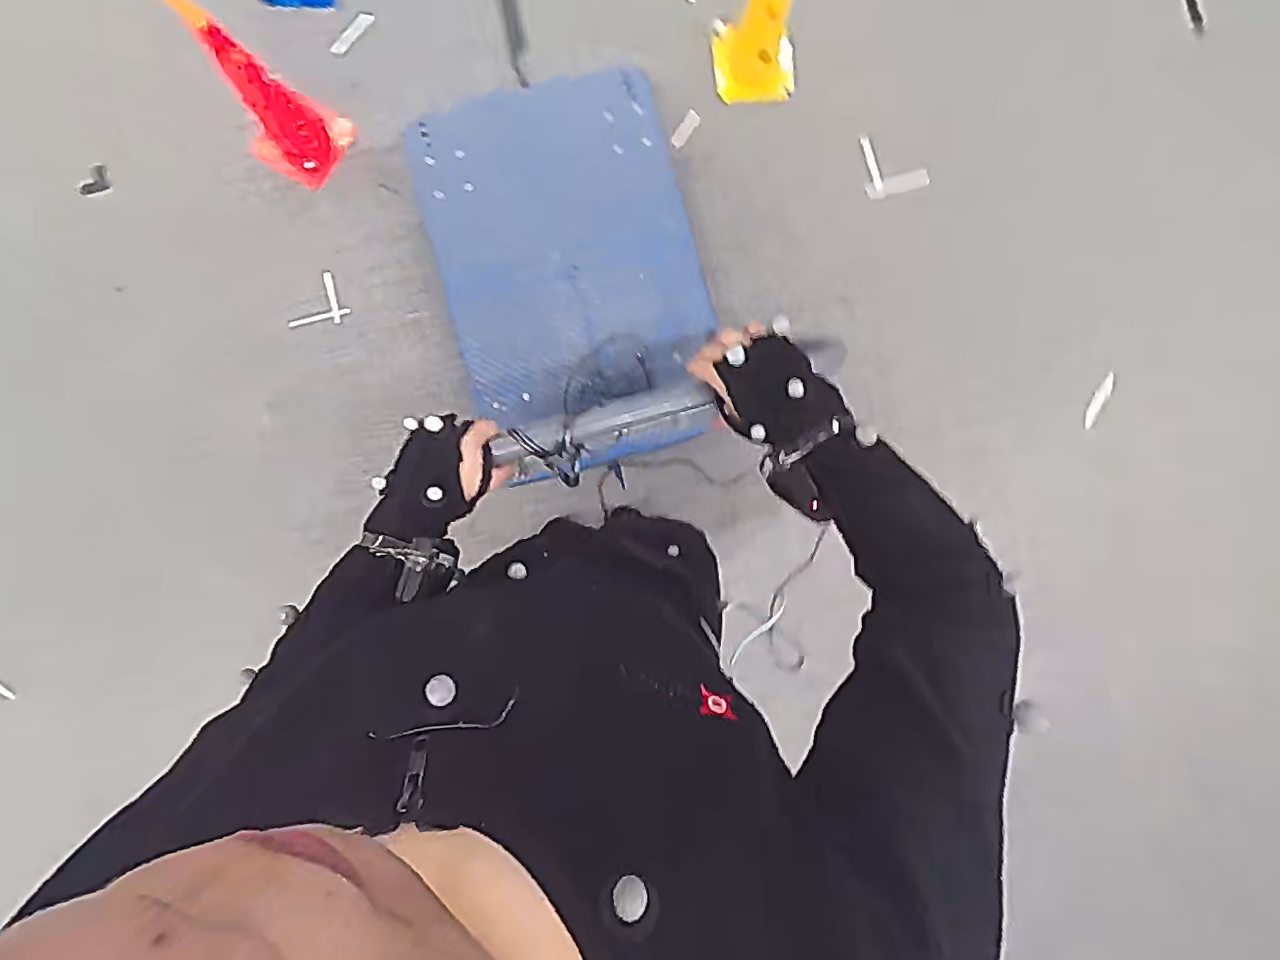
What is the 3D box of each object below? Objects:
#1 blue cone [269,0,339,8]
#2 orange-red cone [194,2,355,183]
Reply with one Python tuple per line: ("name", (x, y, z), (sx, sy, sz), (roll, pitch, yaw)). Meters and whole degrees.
("blue cone", (-0.863, -1.328, 1.236), (0.193, 0.380, 0.192), (2, 88, -2))
("orange-red cone", (-0.844, -0.886, 1.205), (0.198, 0.360, 0.199), (33, 86, -1))
